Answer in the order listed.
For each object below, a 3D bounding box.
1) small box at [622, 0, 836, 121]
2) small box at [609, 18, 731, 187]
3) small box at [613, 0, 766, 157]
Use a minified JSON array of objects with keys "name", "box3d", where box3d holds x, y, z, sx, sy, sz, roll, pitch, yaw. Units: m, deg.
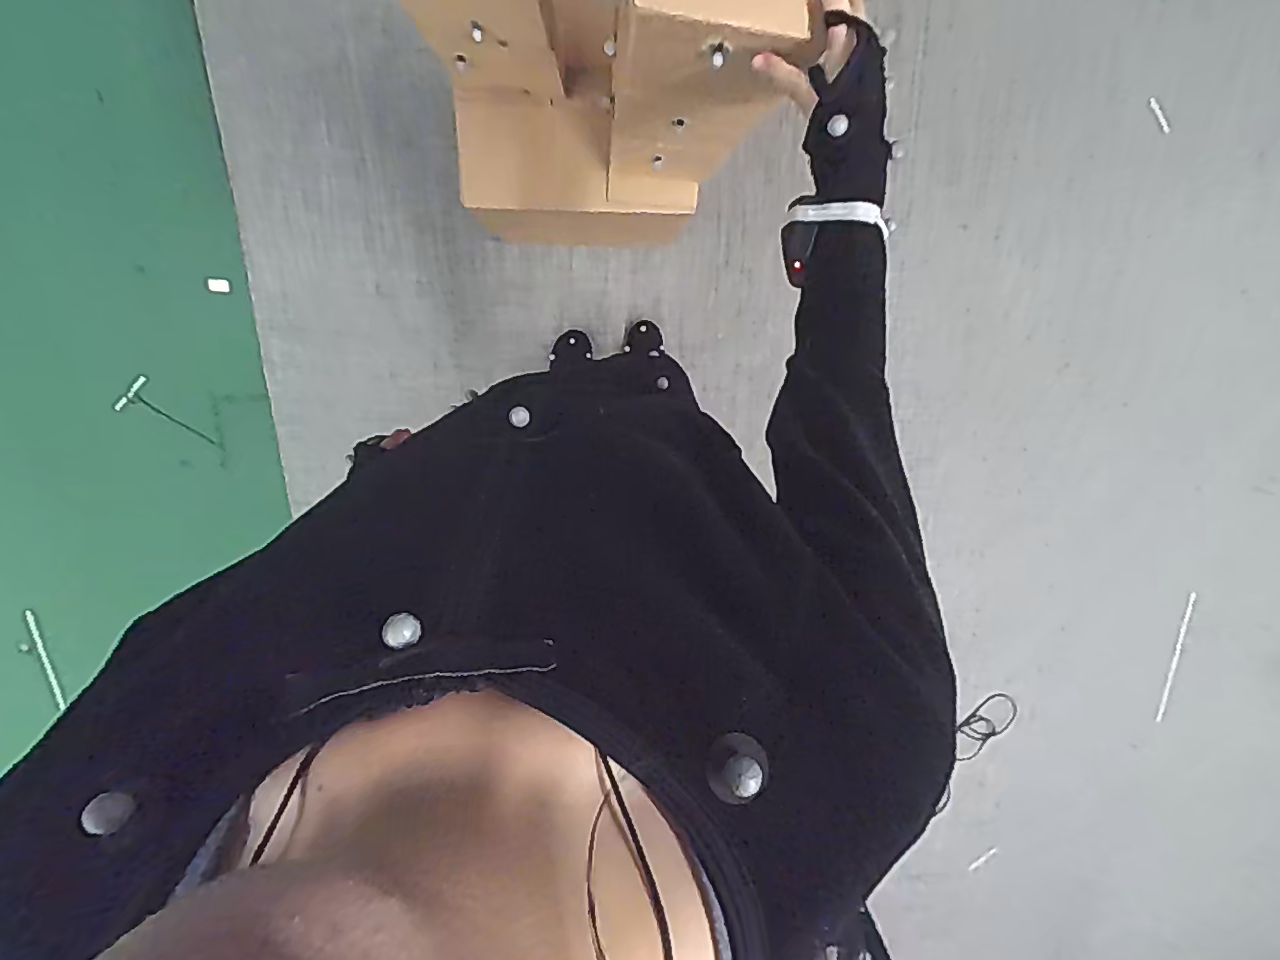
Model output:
[{"name":"small box","box3d":[0.079,-0.470,0.512,0.179,0.176,0.168,6,106,-7]},{"name":"small box","box3d":[0.045,-0.559,0.825,0.179,0.176,0.168,3,107,-4]},{"name":"small box","box3d":[0.060,-0.517,0.667,0.179,0.176,0.168,3,105,-4]}]
